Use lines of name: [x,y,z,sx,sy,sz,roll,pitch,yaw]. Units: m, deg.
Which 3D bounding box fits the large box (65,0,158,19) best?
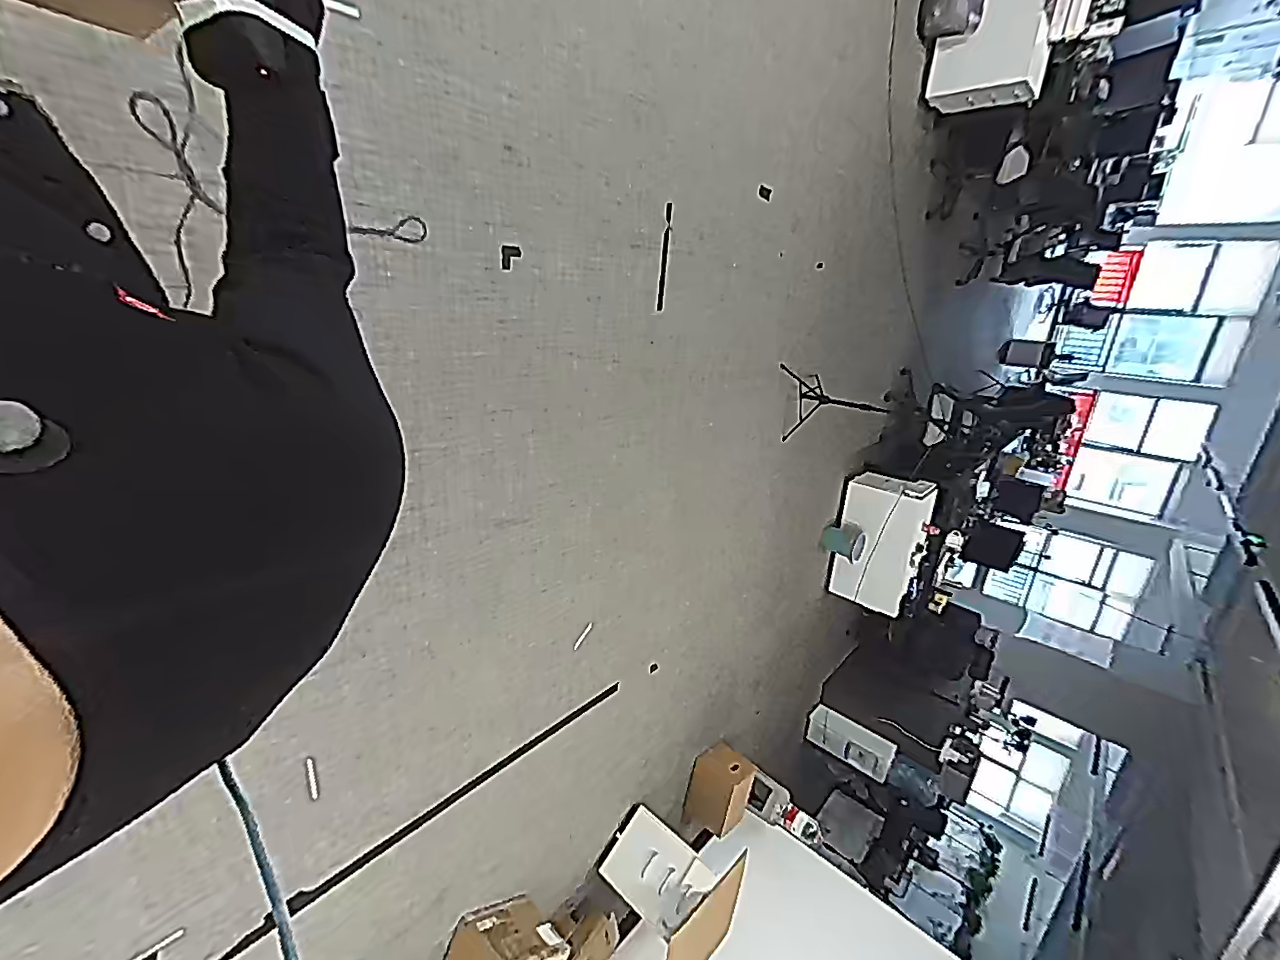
large box: [-0.513,-0.517,0.267,0.408,0.320,0.320,-15,123,-47]
